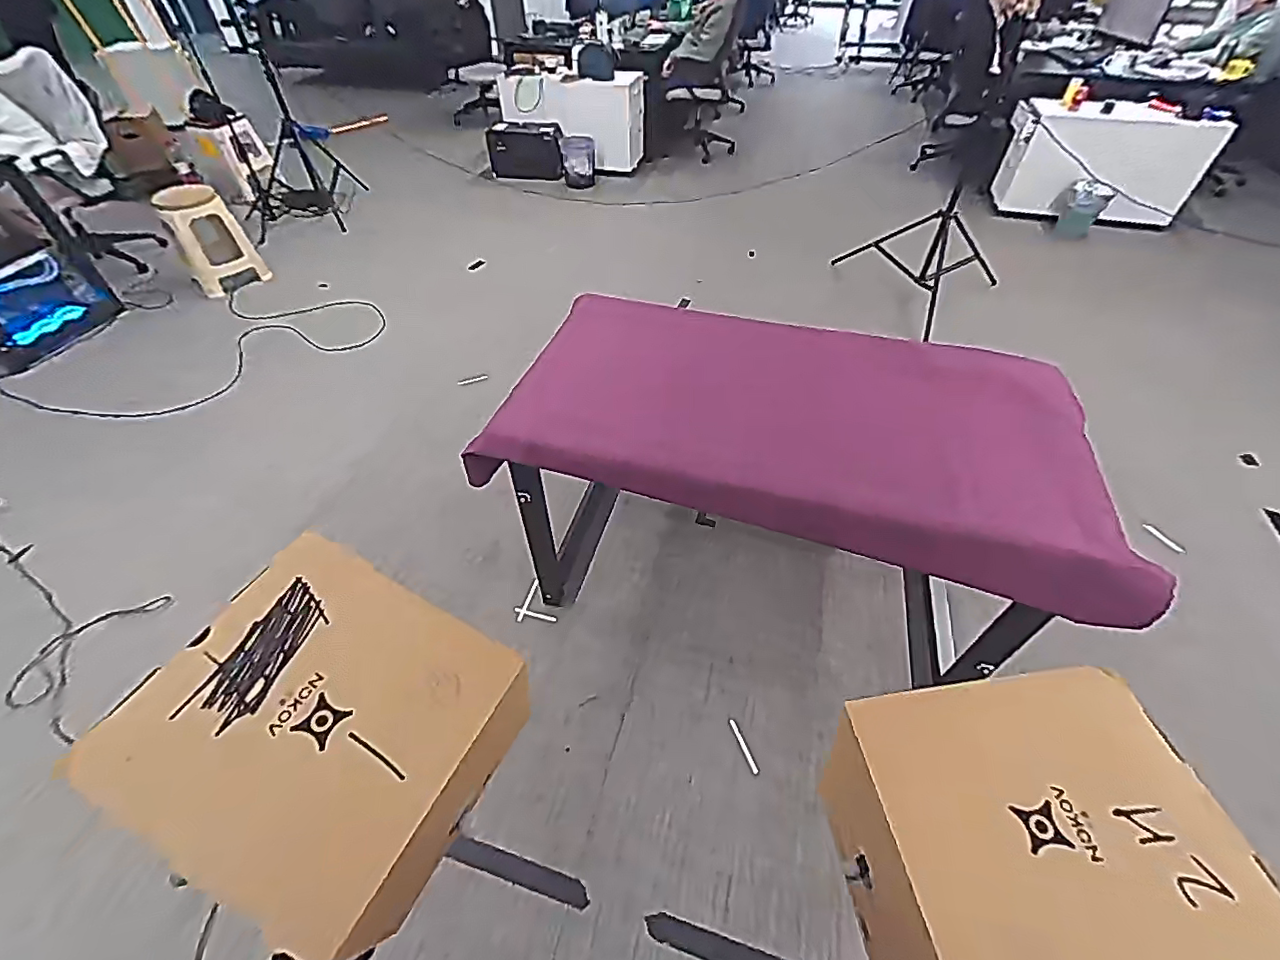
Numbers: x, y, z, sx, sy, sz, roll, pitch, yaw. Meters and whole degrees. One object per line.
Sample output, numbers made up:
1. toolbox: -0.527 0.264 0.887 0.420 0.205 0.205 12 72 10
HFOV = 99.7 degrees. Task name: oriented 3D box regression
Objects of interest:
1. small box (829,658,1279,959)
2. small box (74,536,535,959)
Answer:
1. small box: 0.235 0.241 0.353 0.179 0.176 0.168 -9 46 0
2. small box: -0.190 0.175 0.369 0.179 0.176 0.168 28 56 8
